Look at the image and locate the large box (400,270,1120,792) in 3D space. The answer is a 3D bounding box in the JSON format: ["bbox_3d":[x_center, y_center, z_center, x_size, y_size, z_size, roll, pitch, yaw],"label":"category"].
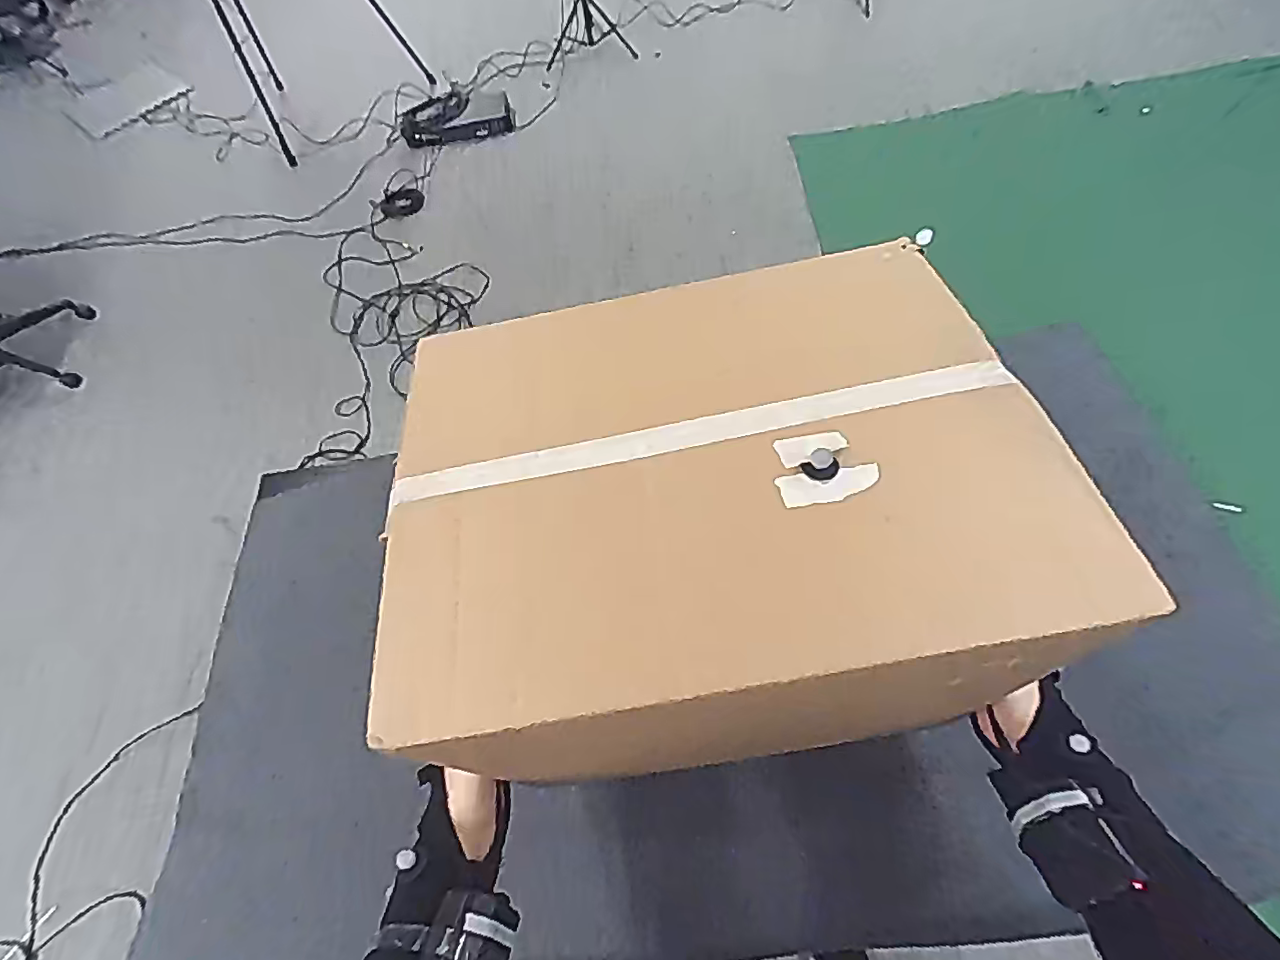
[{"bbox_3d":[0.059,0.067,0.495,0.408,0.320,0.320,-11,56,2],"label":"large box"}]
